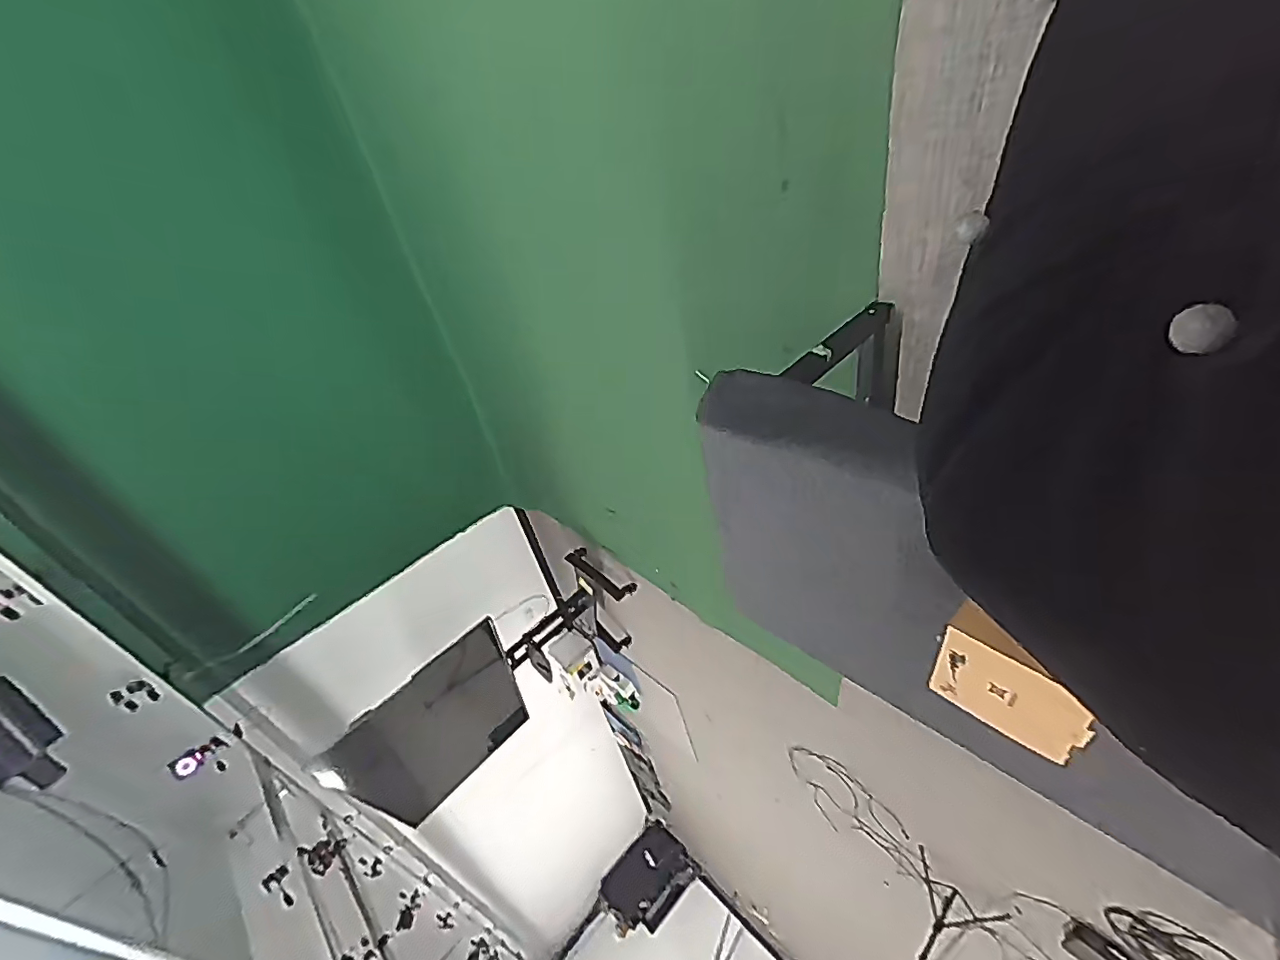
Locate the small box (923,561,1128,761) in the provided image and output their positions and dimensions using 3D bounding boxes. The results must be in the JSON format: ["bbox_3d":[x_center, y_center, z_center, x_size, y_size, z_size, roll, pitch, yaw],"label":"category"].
[{"bbox_3d":[0.540,0.245,0.767,0.179,0.176,0.168,28,144,39],"label":"small box"}]
